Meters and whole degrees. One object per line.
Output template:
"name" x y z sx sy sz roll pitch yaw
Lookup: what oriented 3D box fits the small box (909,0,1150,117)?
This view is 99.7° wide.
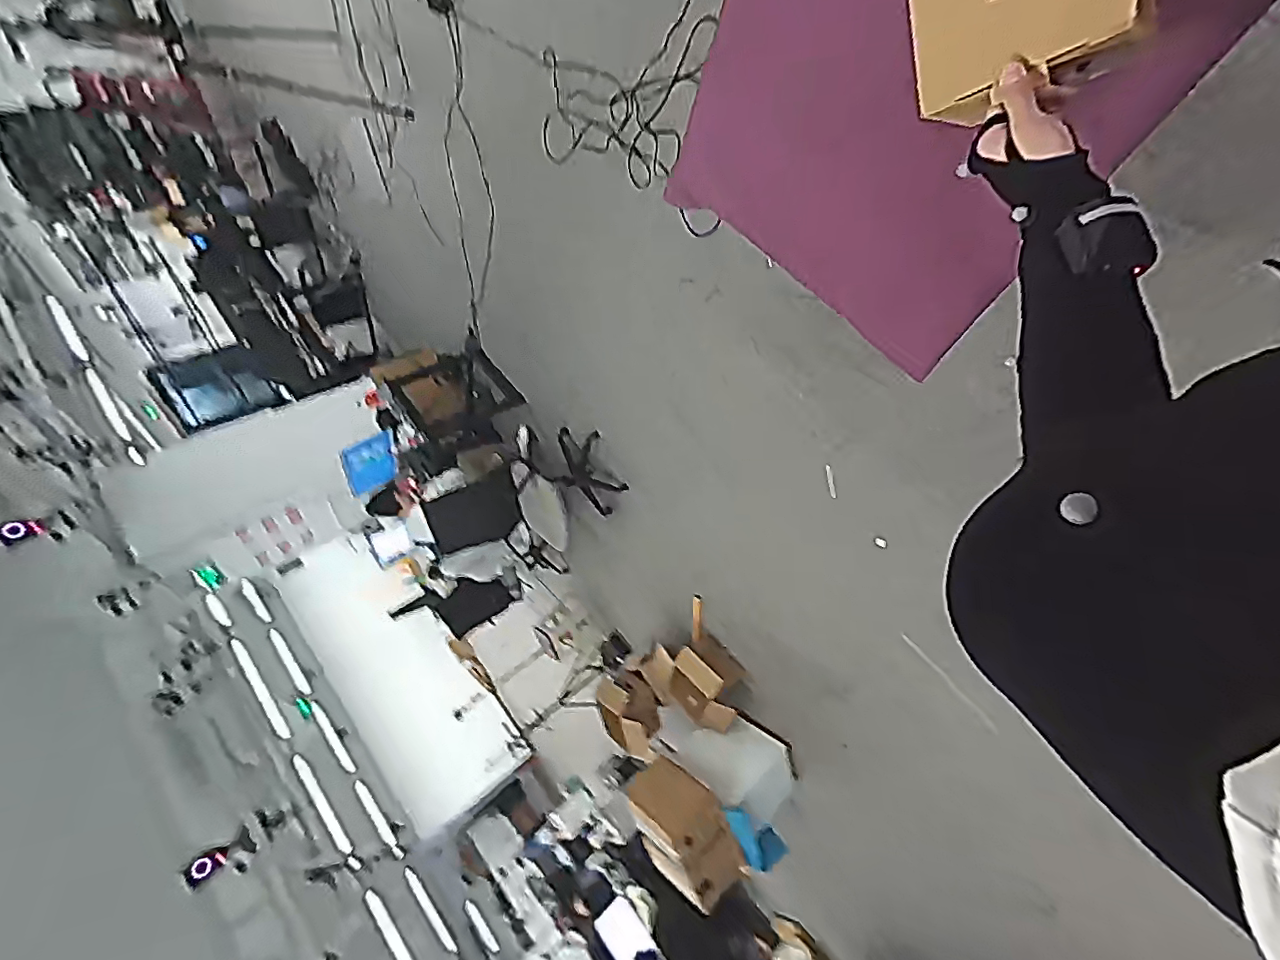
"small box" 0.378 -0.482 0.525 0.168 0.176 0.179 2 112 46
